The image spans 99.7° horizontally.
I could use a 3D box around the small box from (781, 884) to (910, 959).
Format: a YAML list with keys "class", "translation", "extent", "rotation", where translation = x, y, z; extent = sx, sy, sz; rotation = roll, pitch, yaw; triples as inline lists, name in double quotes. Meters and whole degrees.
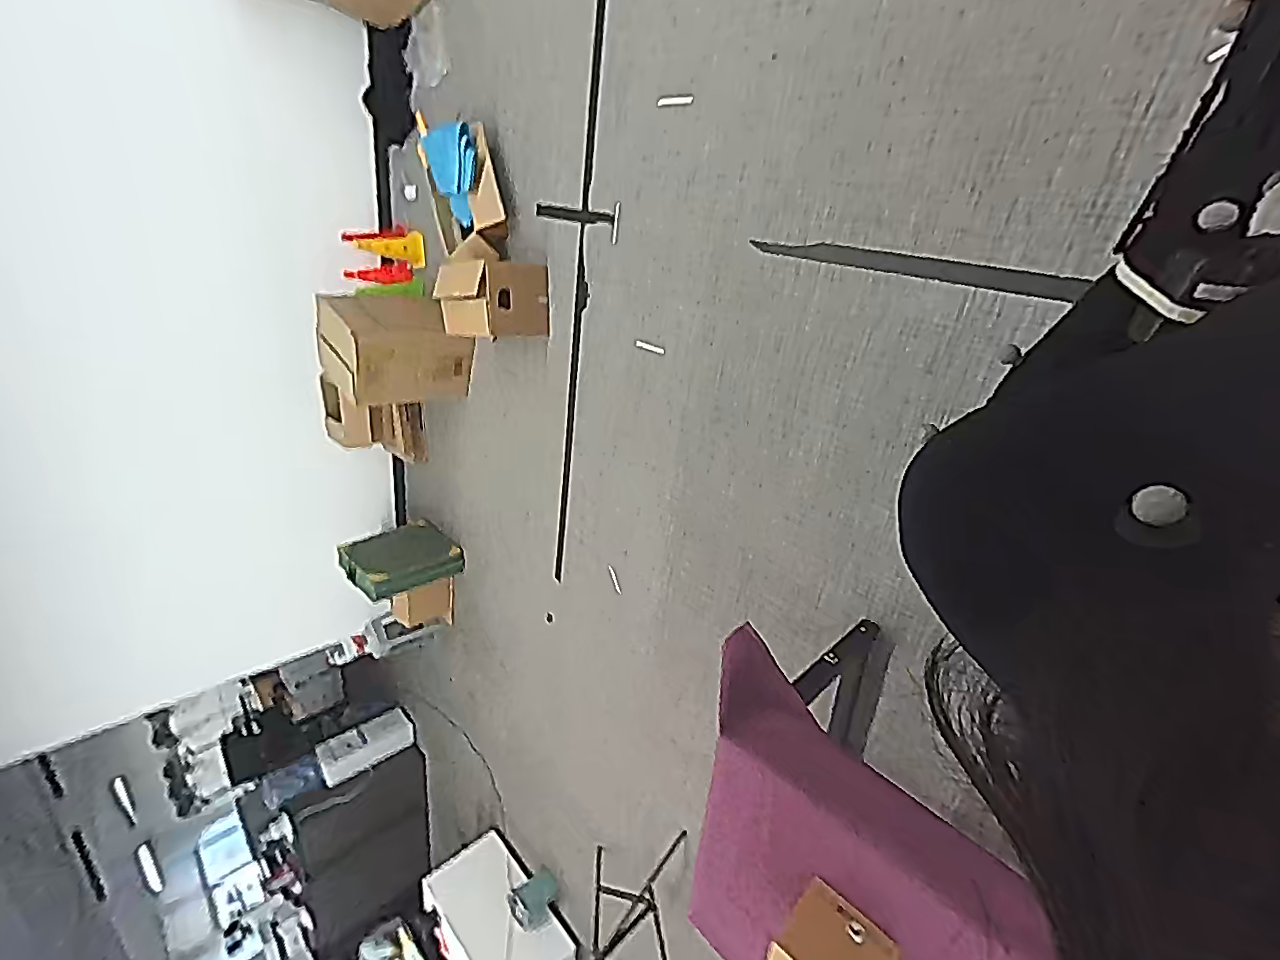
- class: "small box"
  translation: [0.358, 0.893, 0.967]
  extent: [0.168, 0.176, 0.179]
  rotation: [22, 116, 40]
